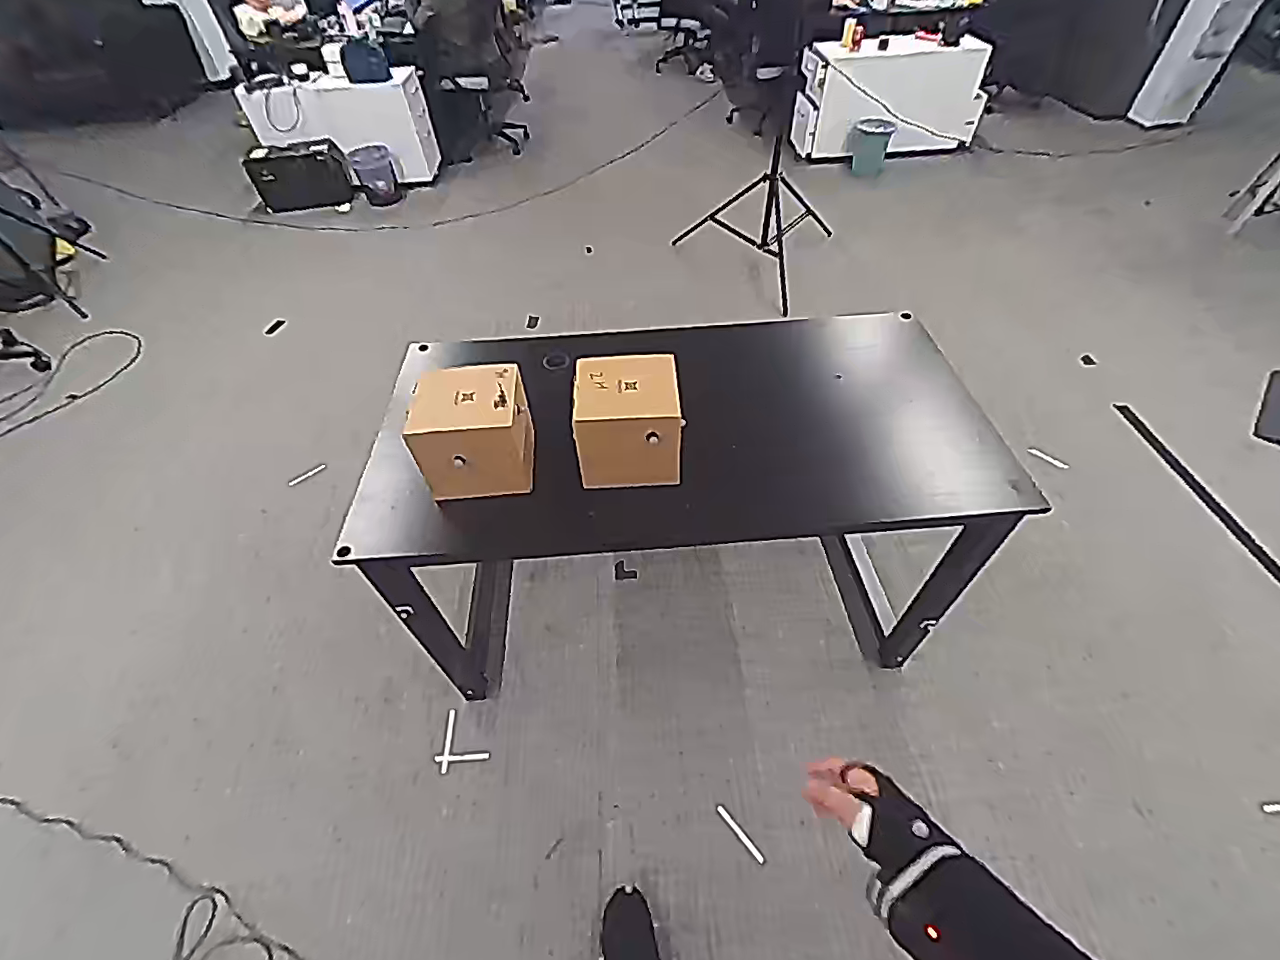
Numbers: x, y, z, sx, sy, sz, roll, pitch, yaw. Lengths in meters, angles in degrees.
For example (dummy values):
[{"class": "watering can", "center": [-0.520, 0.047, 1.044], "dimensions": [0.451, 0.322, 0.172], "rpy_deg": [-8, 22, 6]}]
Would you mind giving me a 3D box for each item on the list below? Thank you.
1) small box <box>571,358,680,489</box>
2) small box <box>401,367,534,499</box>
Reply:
[{"class": "small box", "center": [-0.023, -0.099, 0.970], "dimensions": [0.179, 0.176, 0.168], "rpy_deg": [-3, 48, 1]}, {"class": "small box", "center": [-0.296, -0.080, 0.968], "dimensions": [0.179, 0.176, 0.168], "rpy_deg": [-6, 49, -2]}]
